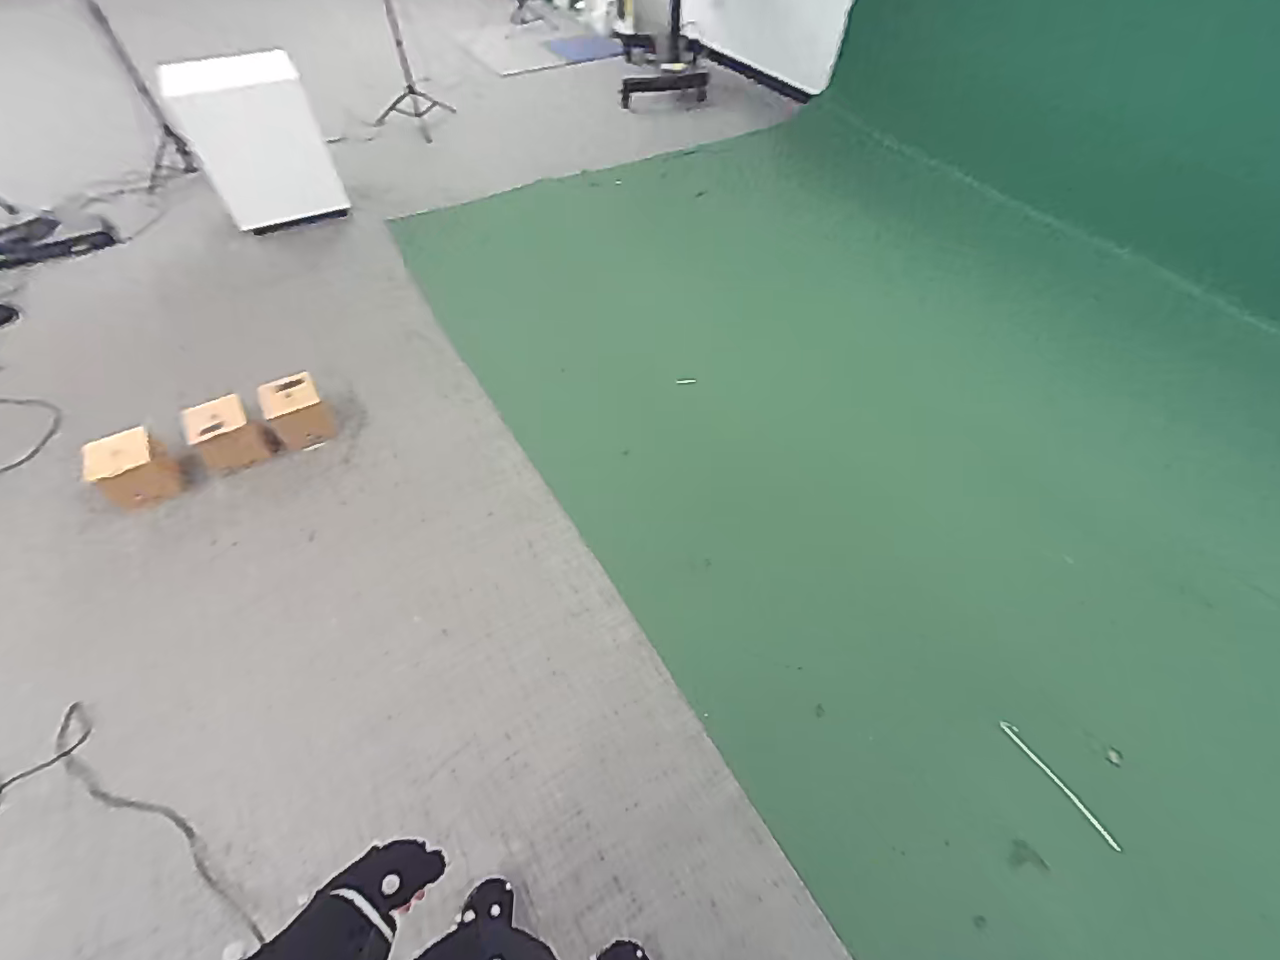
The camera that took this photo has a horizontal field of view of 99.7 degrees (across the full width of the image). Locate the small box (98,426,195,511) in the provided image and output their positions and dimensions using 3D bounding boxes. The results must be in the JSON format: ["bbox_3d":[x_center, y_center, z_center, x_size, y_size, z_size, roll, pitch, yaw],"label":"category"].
[{"bbox_3d":[-1.571,-0.034,1.727,0.168,0.176,0.179,-26,58,-19],"label":"small box"}]

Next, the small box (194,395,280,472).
[{"bbox_3d":[-1.348,-0.149,1.816,0.168,0.176,0.179,-27,57,-19],"label":"small box"}]
